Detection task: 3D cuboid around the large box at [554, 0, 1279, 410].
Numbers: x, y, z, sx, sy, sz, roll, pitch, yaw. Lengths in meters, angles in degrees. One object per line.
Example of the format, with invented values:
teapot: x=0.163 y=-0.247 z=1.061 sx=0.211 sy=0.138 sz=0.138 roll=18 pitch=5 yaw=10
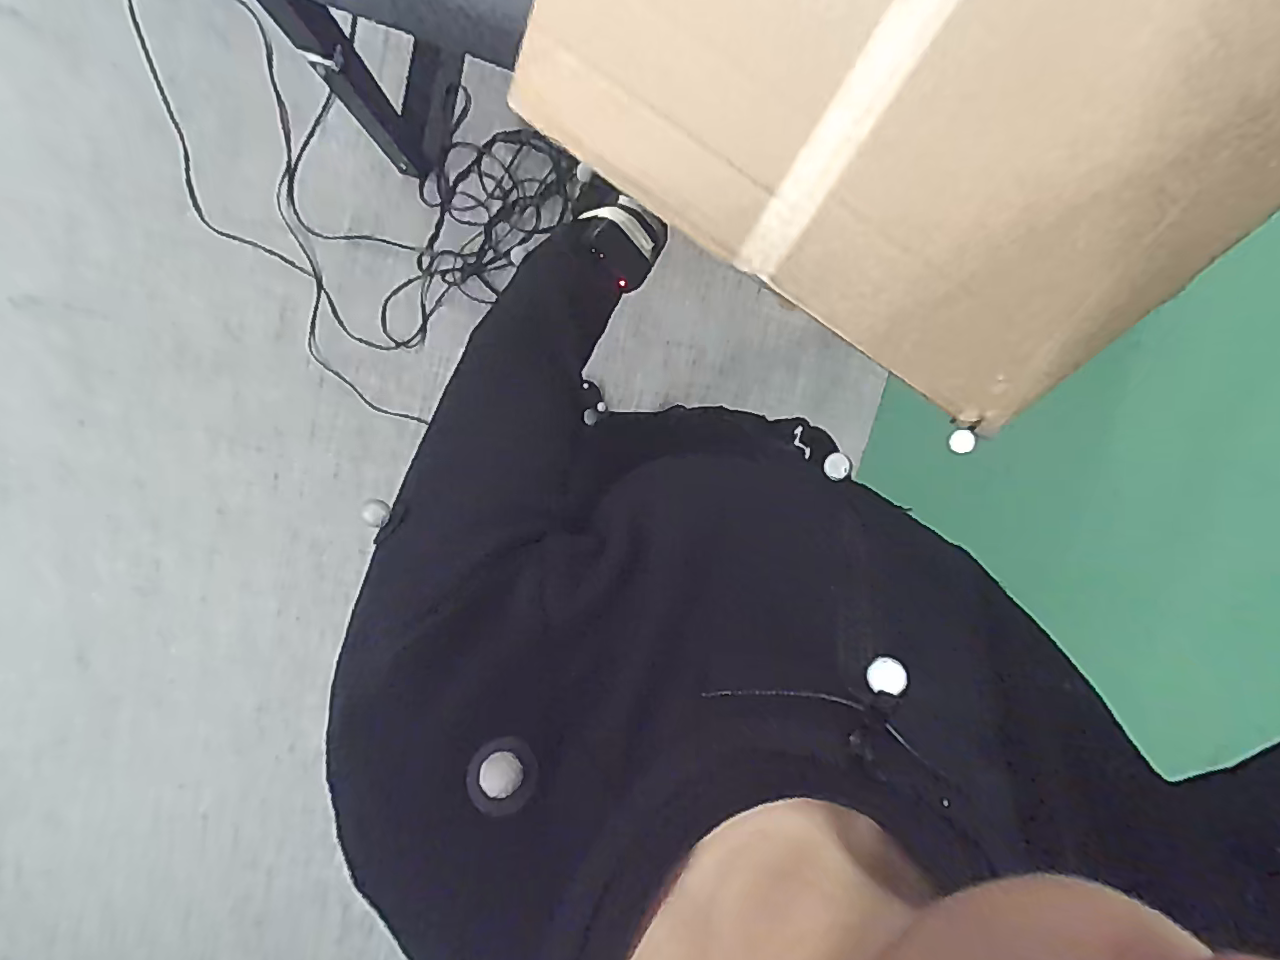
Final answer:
large box: x=0.208 y=-0.328 z=0.290 sx=0.320 sy=0.320 sz=0.408 roll=33 pitch=131 yaw=0
